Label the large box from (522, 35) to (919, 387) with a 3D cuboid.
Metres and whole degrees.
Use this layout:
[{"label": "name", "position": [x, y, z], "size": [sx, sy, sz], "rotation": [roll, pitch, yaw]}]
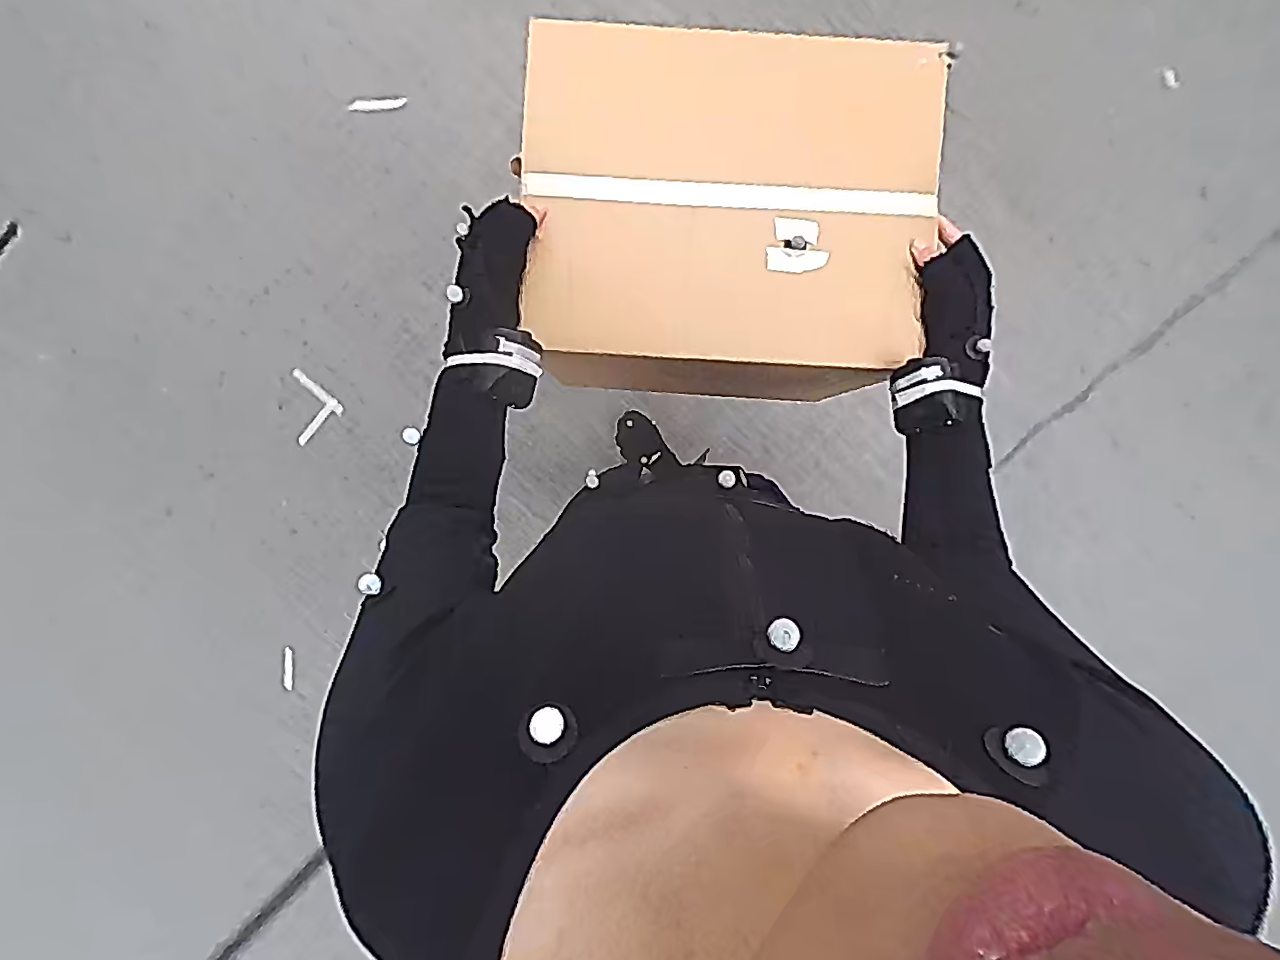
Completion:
[{"label": "large box", "position": [0.076, -0.293, 0.694], "size": [0.408, 0.320, 0.320], "rotation": [2, 94, -1]}]
